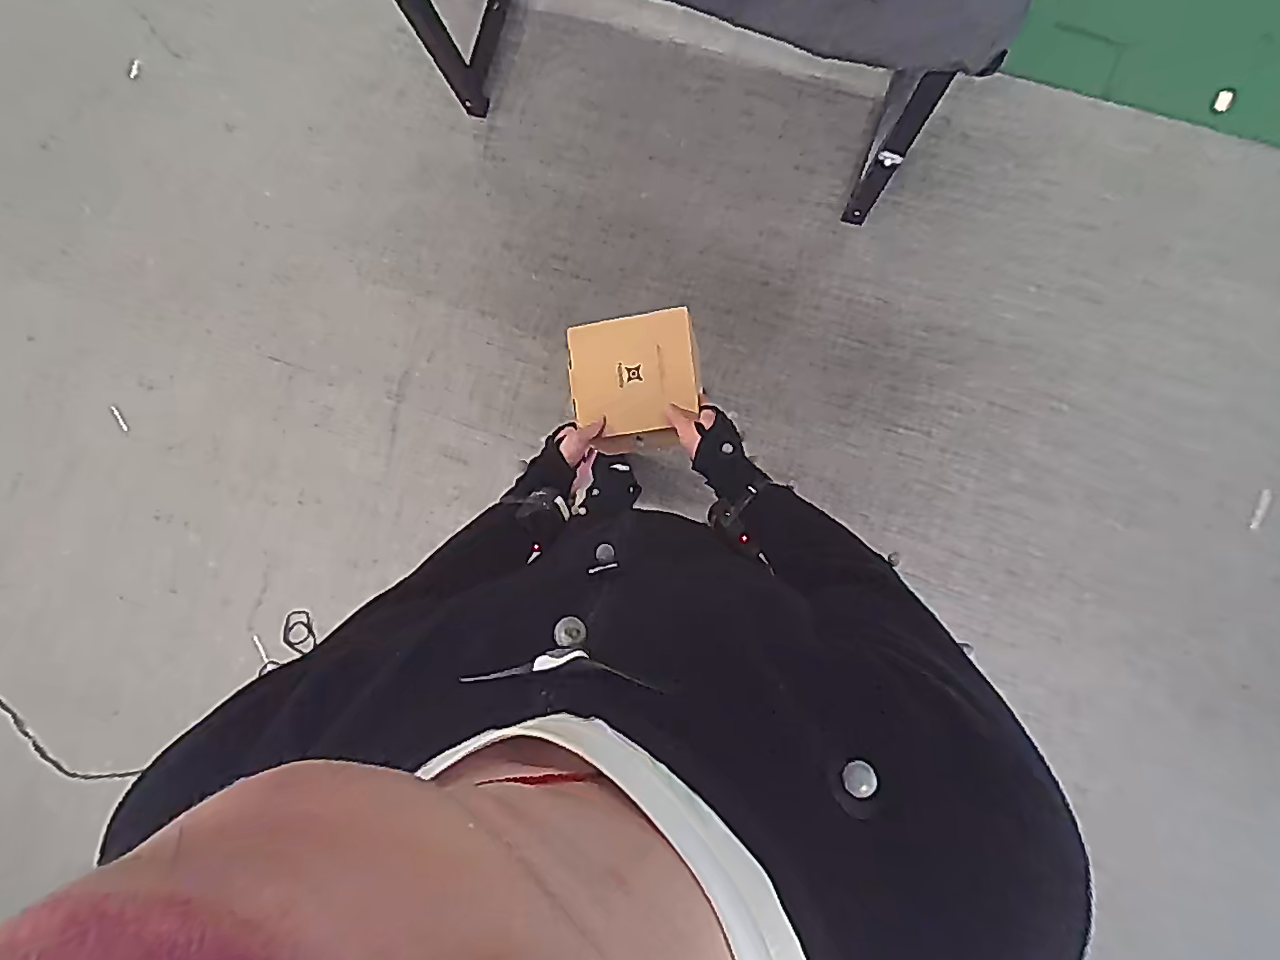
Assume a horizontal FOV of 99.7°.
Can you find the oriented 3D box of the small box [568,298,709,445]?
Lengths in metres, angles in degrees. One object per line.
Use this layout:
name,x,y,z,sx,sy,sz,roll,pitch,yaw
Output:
small box,0.005,-0.152,0.821,0.179,0.176,0.168,-8,85,9
